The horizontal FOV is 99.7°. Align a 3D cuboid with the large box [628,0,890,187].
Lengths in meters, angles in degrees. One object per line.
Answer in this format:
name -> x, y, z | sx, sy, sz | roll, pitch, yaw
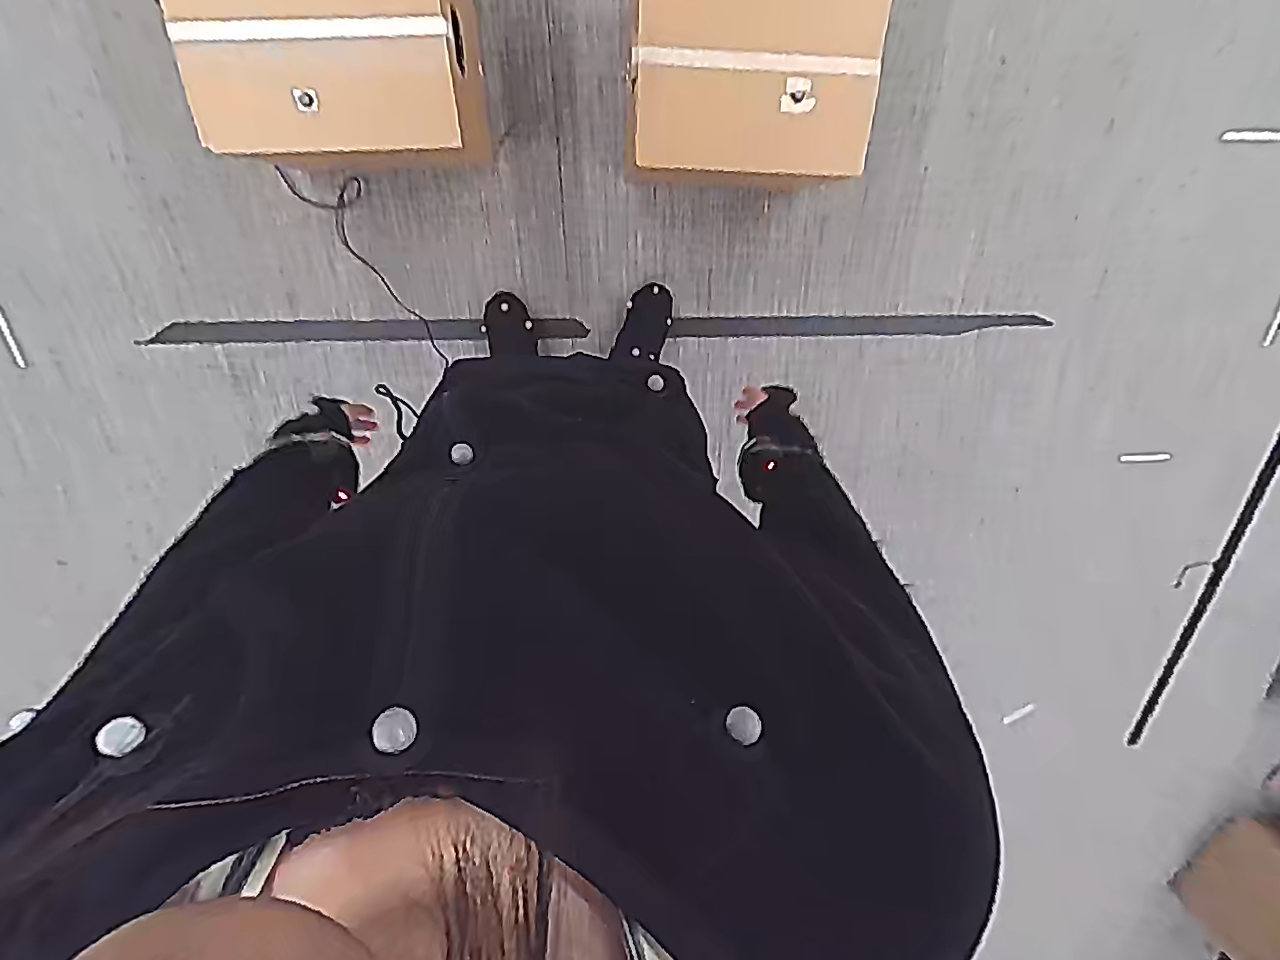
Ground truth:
large box -> 0.186, -0.744, 1.017 | 0.408, 0.320, 0.320 | 0, 115, -6
